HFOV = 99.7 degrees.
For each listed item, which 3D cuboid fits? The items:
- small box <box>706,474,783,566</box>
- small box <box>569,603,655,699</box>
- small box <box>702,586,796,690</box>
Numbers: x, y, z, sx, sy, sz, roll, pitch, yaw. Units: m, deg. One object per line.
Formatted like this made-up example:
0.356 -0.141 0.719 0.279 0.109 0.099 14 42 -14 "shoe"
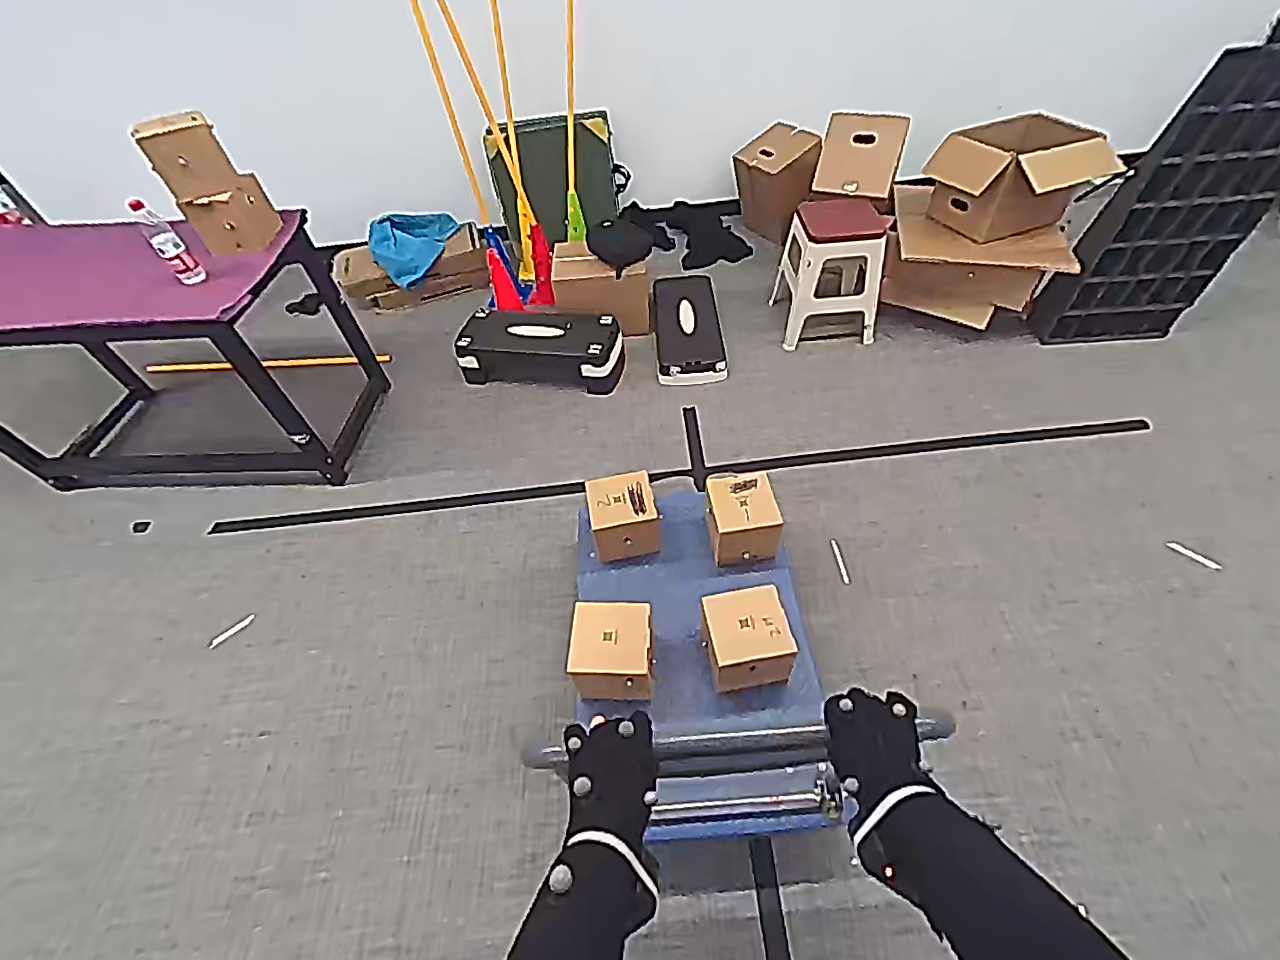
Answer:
0.275 0.110 1.471 0.168 0.176 0.179 -8 51 -1 "small box"
-0.058 0.403 1.265 0.179 0.176 0.168 0 50 4 "small box"
0.246 0.372 1.259 0.179 0.176 0.168 -10 51 -2 "small box"
